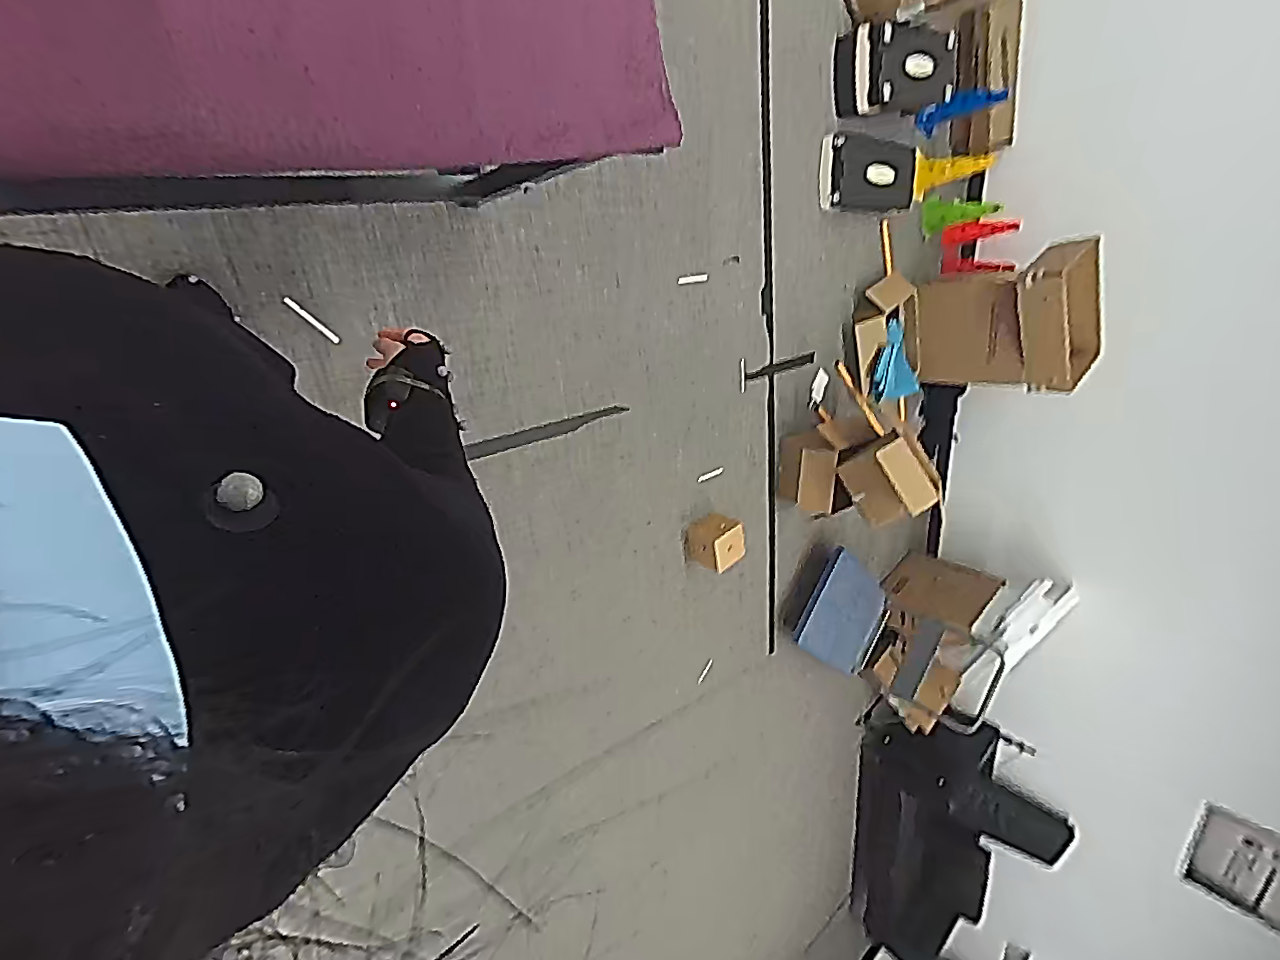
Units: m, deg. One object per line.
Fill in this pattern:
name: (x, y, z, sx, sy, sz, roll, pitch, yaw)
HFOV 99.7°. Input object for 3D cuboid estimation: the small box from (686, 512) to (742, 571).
small box: (0.315, 0.262, 2.331, 0.179, 0.176, 0.168, -30, 121, -32)
